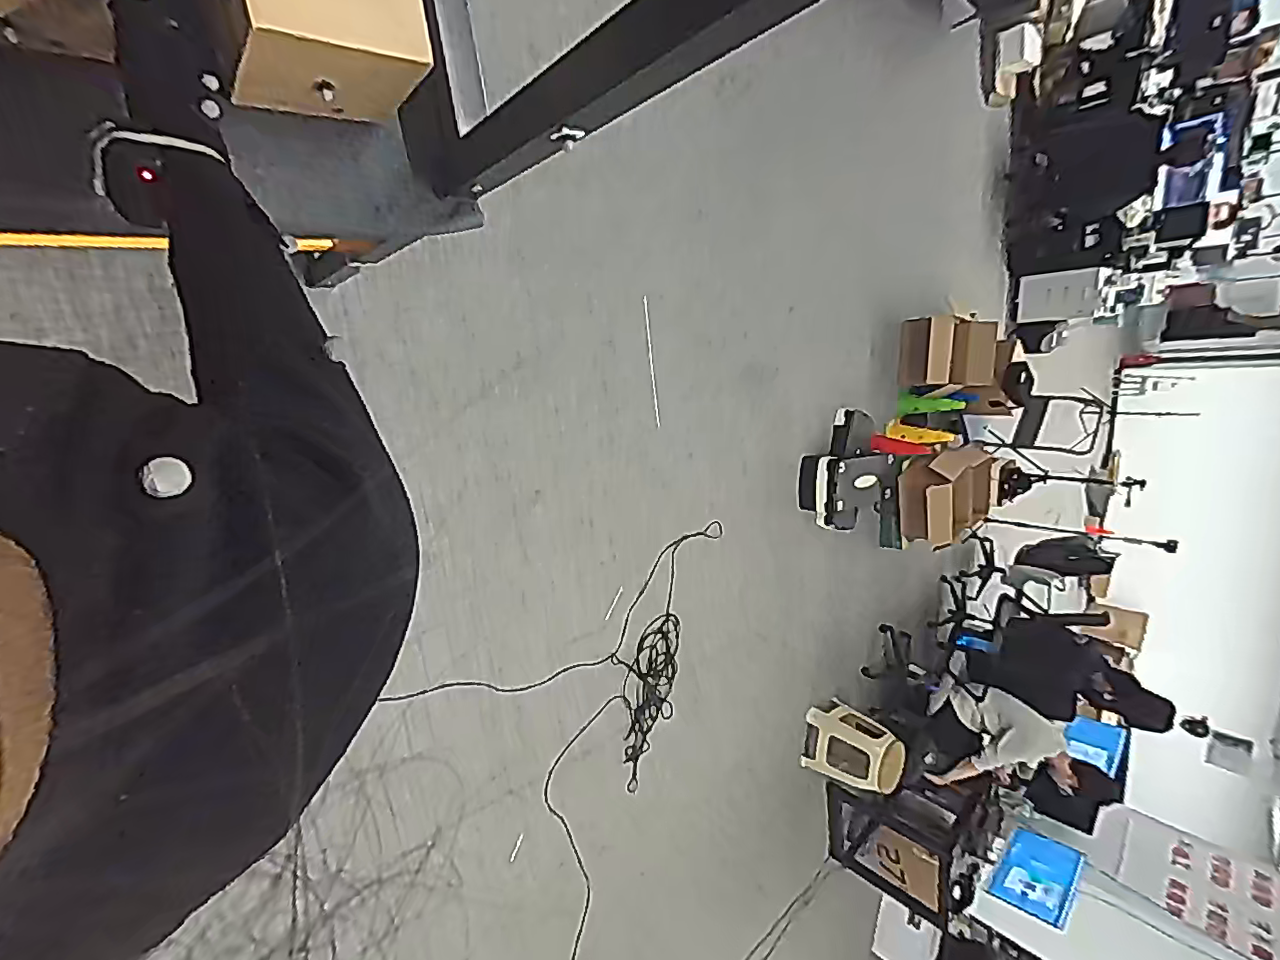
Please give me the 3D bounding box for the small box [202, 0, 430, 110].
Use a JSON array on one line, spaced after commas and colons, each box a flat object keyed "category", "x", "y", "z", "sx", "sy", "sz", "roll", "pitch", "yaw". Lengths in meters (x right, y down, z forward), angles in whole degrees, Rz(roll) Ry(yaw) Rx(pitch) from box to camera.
[{"category": "small box", "x": -0.342, "y": -0.514, "z": 0.554, "sx": 0.168, "sy": 0.176, "sz": 0.179, "roll": -21, "pitch": 110, "yaw": -39}]
